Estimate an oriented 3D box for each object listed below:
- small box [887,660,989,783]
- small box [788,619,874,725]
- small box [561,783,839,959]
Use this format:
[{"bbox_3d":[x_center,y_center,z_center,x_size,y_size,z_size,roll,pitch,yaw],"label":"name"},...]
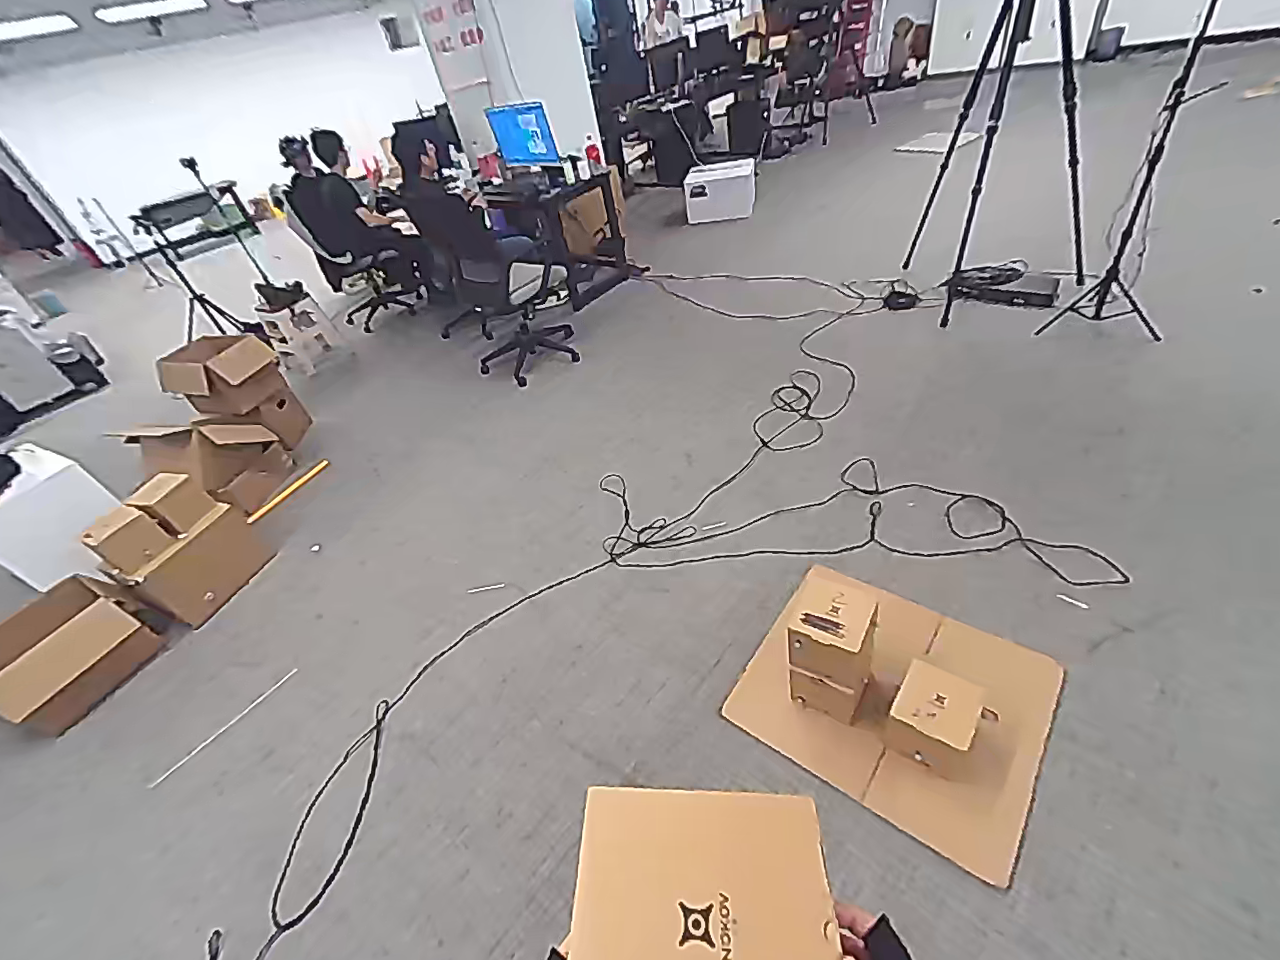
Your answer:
[{"bbox_3d":[0.707,0.579,1.298,0.168,0.176,0.179,20,51,36],"label":"small box"},{"bbox_3d":[0.508,0.512,1.436,0.168,0.176,0.179,16,48,33],"label":"small box"},{"bbox_3d":[0.041,0.351,0.401,0.179,0.176,0.168,1,38,4],"label":"small box"}]
